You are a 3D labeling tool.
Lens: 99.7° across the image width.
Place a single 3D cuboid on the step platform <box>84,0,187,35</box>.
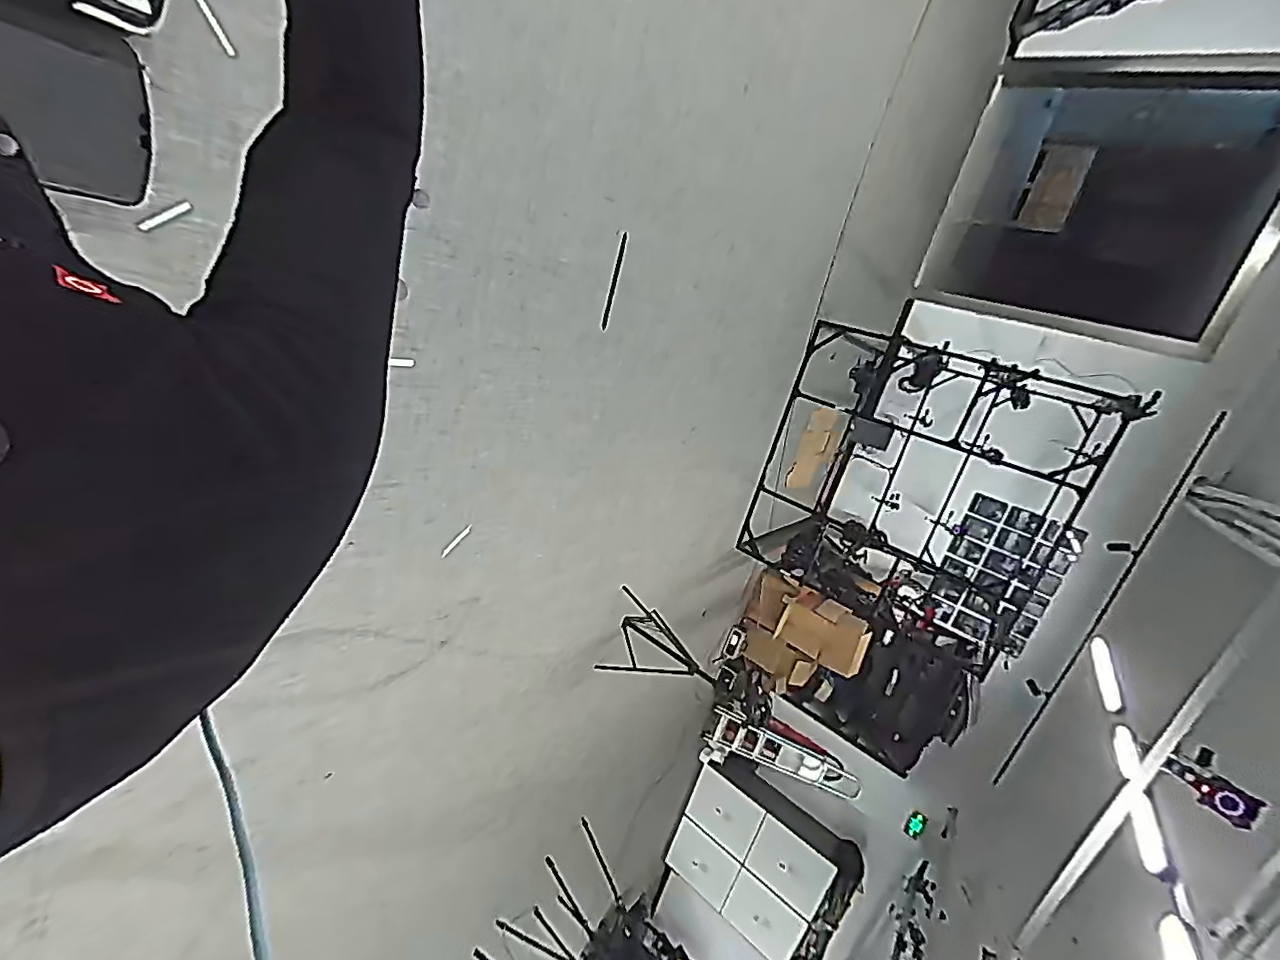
[{"bbox_3d":[-1.012,-0.896,0.685,0.684,0.204,0.286,-12,123,-54],"label":"step platform"}]
